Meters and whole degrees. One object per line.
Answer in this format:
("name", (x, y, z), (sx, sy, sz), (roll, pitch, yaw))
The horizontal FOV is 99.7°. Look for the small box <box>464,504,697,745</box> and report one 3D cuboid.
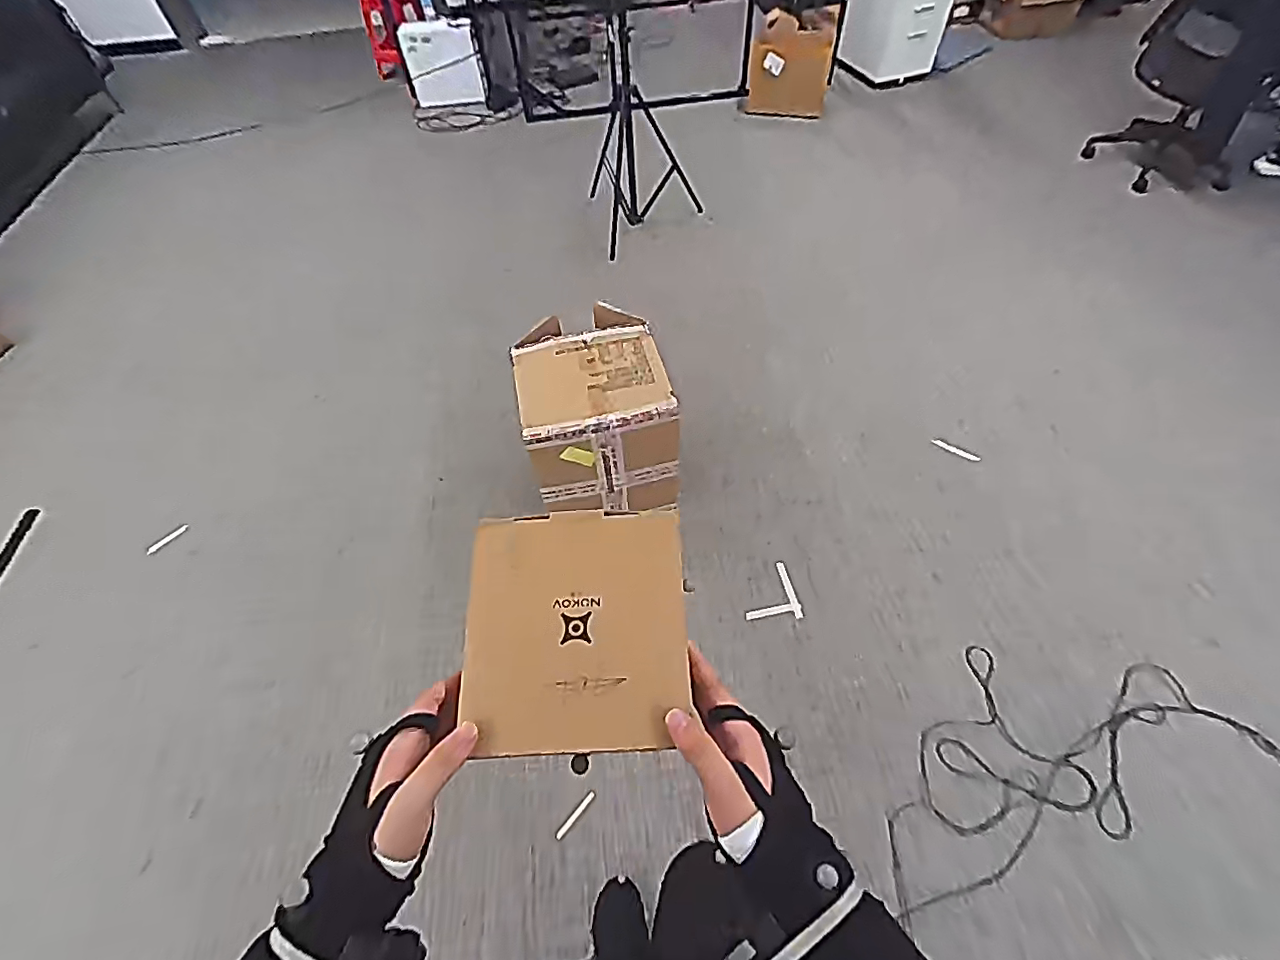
("small box", (-0.043, 0.136, 0.482), (0.168, 0.176, 0.179), (-3, 64, 0))
